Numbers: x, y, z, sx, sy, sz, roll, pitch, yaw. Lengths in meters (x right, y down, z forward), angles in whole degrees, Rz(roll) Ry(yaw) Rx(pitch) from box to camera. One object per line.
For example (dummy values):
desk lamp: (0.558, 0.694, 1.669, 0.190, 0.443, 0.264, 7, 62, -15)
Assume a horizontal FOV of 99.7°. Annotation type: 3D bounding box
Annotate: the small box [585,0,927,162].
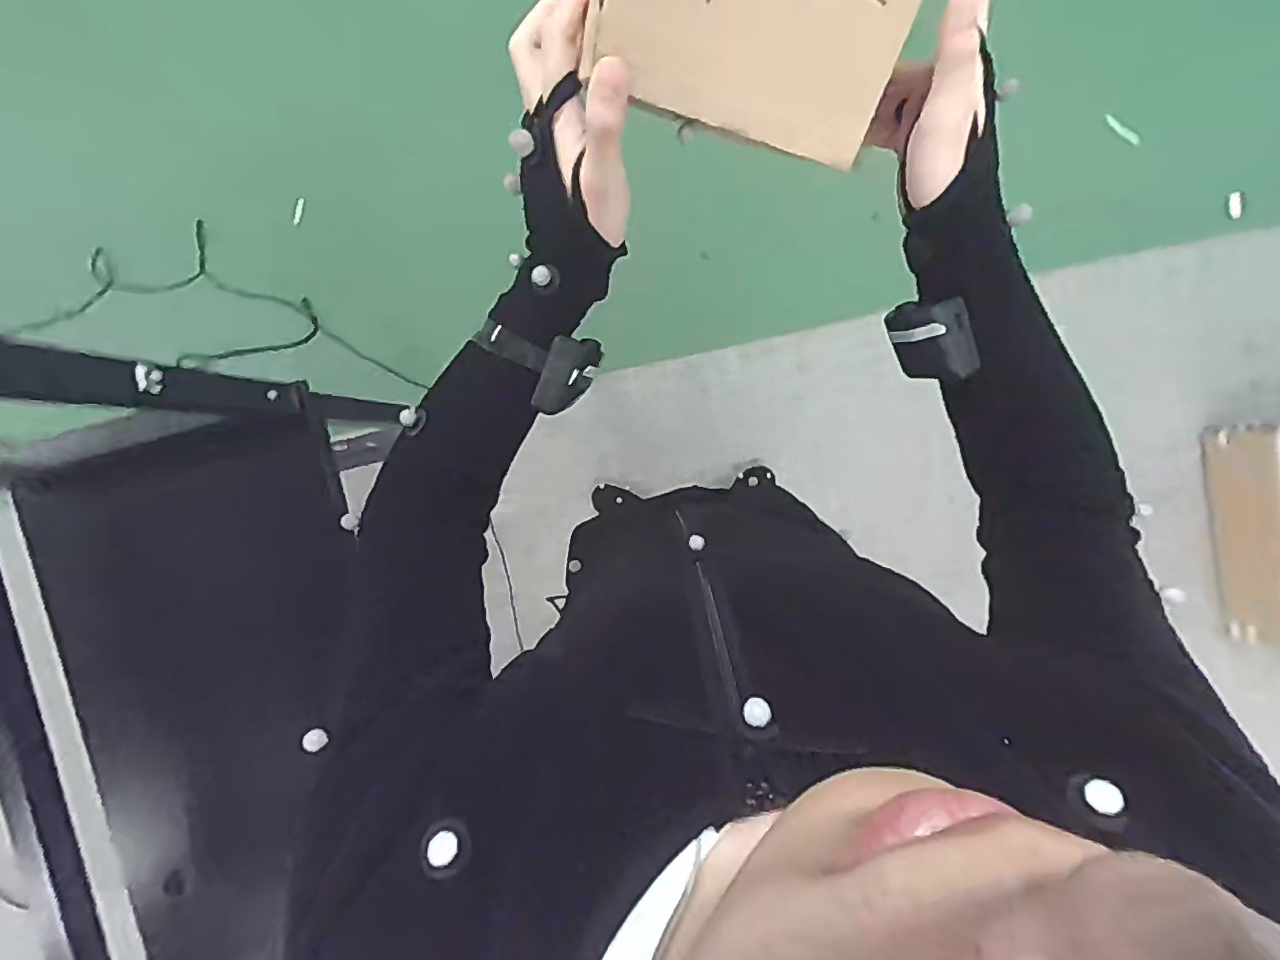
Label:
small box: (0.068, -0.330, 0.352, 0.179, 0.176, 0.168, 6, 125, -19)
